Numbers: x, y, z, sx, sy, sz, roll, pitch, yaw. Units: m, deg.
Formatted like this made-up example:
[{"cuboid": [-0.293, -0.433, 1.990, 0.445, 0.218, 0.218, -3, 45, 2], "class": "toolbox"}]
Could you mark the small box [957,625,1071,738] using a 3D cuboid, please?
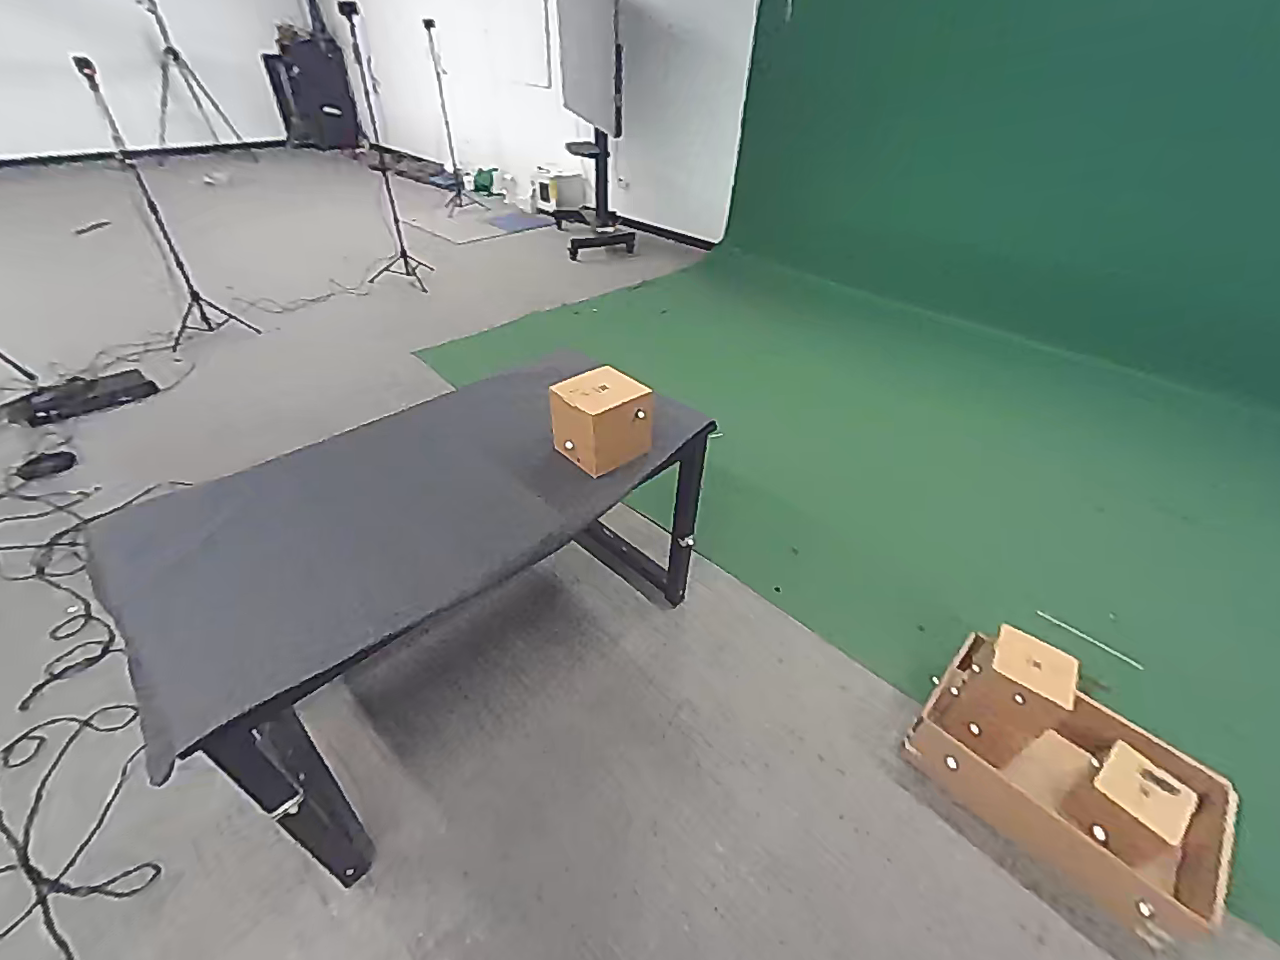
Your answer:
[{"cuboid": [0.941, 0.513, 1.369, 0.179, 0.176, 0.168, 29, 47, 24], "class": "small box"}]

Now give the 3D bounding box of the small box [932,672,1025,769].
[{"cuboid": [0.936, 0.641, 1.473, 0.168, 0.176, 0.179, -30, 50, -33], "class": "small box"}]

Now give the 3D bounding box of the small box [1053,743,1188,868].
[{"cuboid": [1.157, 0.789, 1.313, 0.179, 0.176, 0.168, -26, 47, -29], "class": "small box"}]

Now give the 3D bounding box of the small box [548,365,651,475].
[{"cuboid": [-0.094, -0.142, 1.256, 0.179, 0.176, 0.168, -28, 47, -32], "class": "small box"}]
